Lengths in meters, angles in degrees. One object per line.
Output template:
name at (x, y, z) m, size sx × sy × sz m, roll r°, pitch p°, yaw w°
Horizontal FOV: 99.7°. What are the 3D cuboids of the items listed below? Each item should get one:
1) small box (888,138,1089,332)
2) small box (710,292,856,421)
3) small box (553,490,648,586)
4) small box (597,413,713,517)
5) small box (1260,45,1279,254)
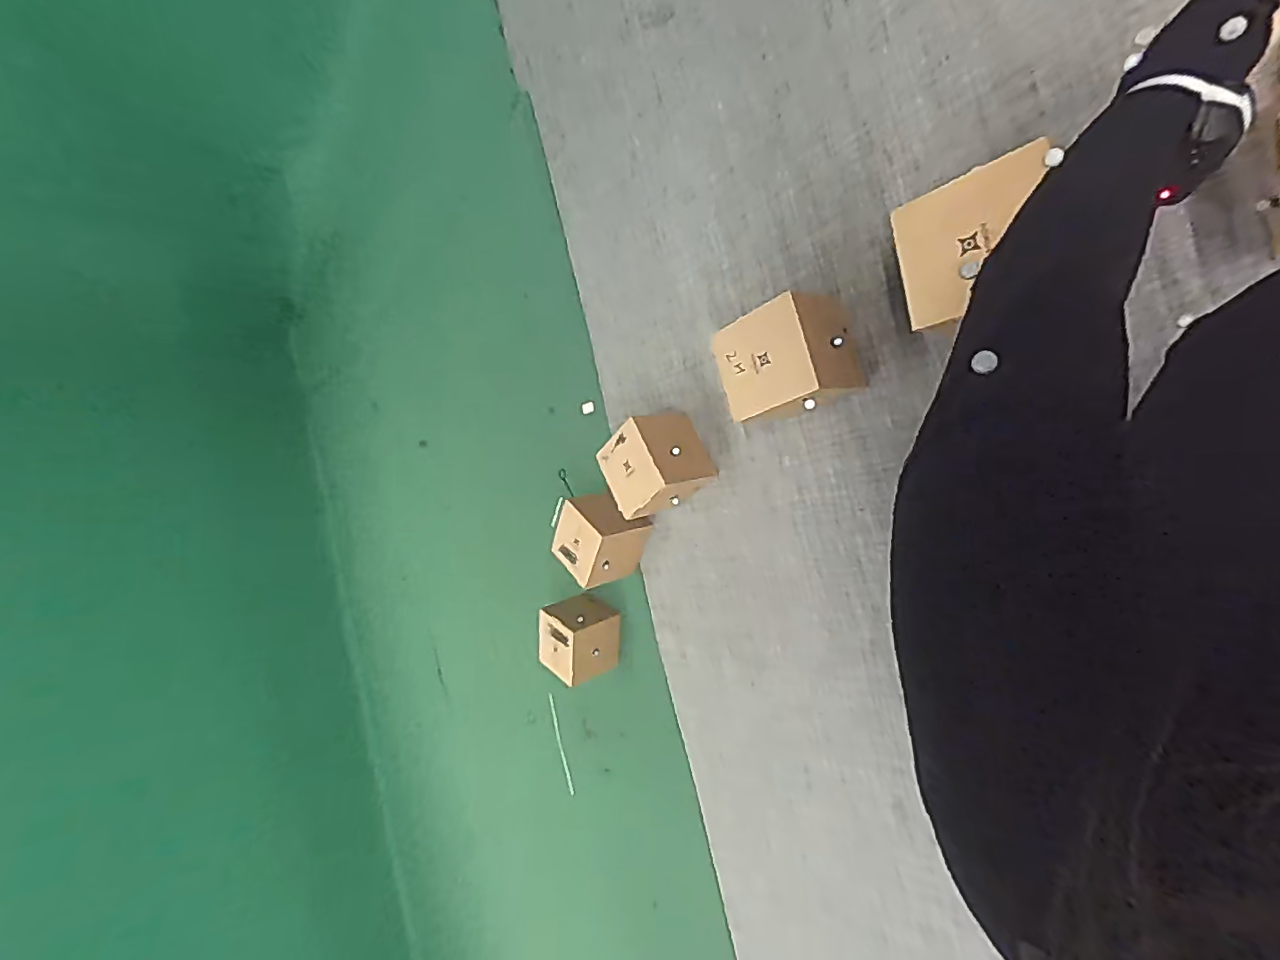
small box at (0.464, -0.304, 0.721) m, size 0.179 × 0.176 × 0.168 m, roll -11°, pitch 90°, yaw 47°
small box at (0.259, -0.213, 0.958) m, size 0.179 × 0.176 × 0.168 m, roll -20°, pitch 83°, yaw 47°
small box at (-0.103, 0.146, 1.428) m, size 0.168 × 0.176 × 0.179 m, roll 42°, pitch 125°, yaw 34°
small box at (0.036, -0.039, 1.239) m, size 0.168 × 0.176 × 0.179 m, roll -42°, pitch 68°, yaw 44°
small box at (0.684, -0.316, 0.479) m, size 0.179 × 0.176 × 0.168 m, roll -2°, pitch 98°, yaw 47°
